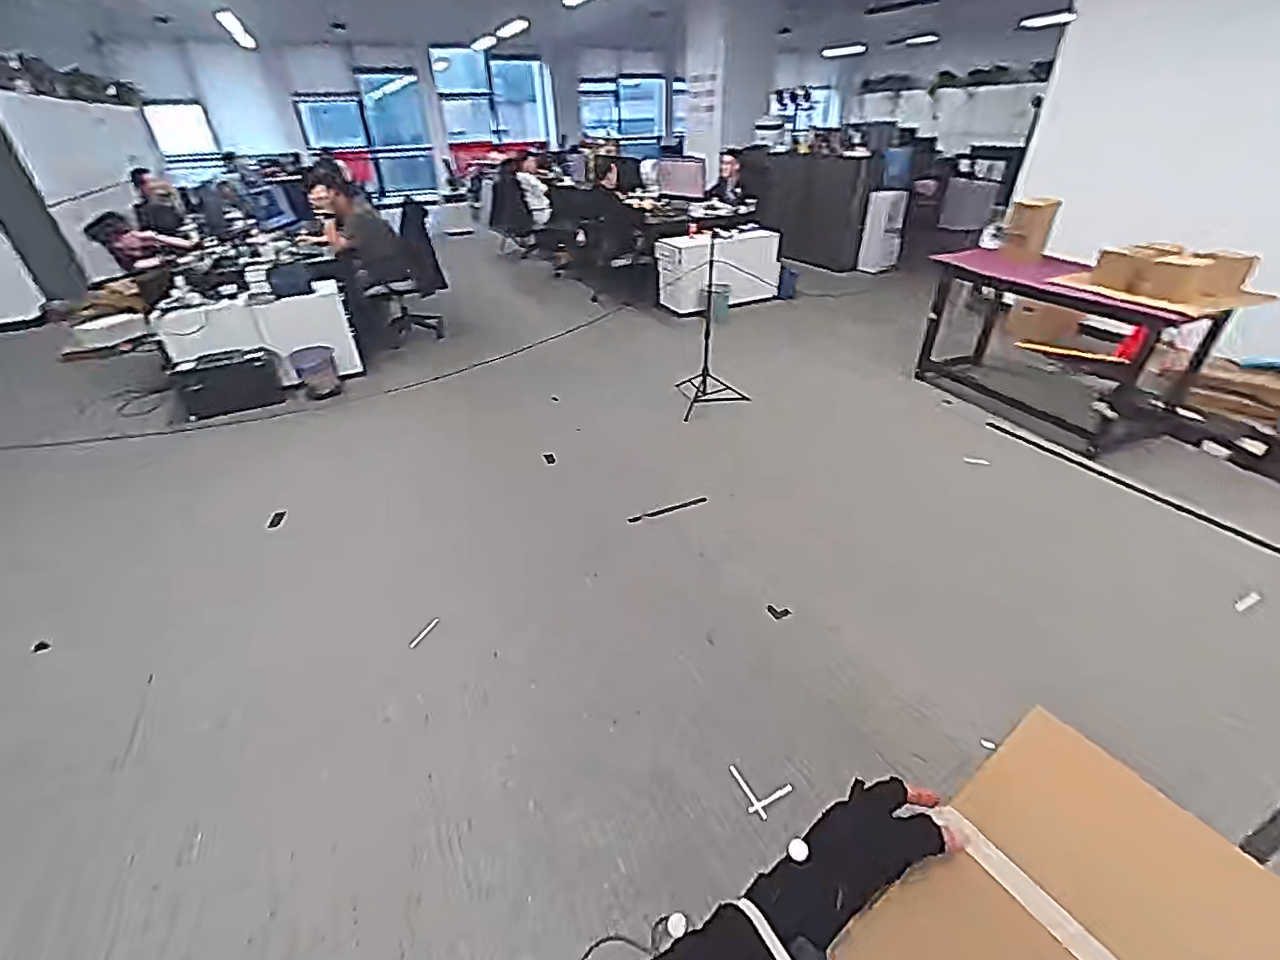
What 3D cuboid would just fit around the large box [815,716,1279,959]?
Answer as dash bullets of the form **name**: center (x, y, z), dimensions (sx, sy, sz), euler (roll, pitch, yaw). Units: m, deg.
- **large box**: center (0.392, 0.505, 0.452), dimensions (0.320, 0.320, 0.408), euler (-30, 46, -22)
